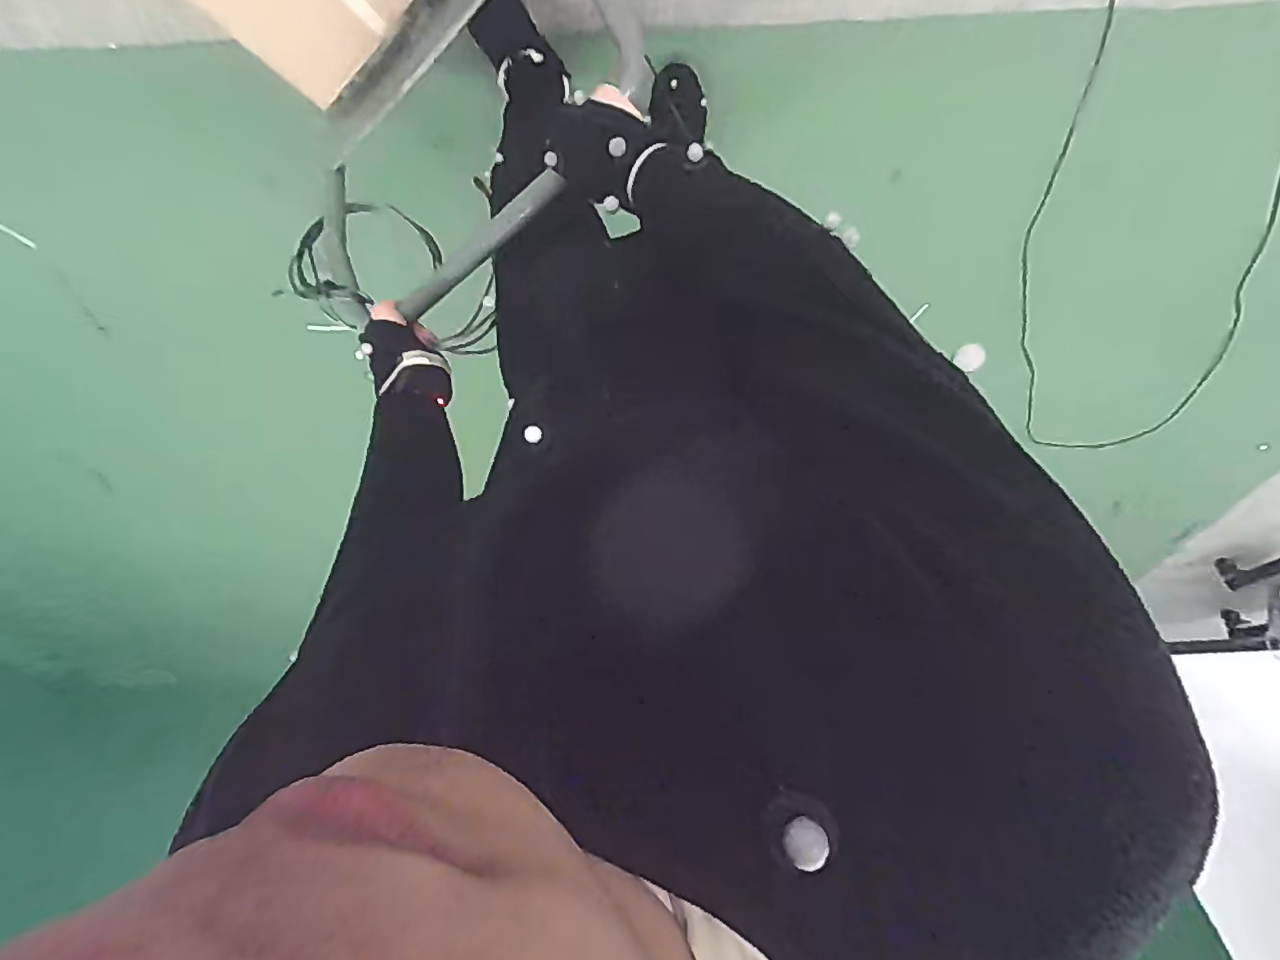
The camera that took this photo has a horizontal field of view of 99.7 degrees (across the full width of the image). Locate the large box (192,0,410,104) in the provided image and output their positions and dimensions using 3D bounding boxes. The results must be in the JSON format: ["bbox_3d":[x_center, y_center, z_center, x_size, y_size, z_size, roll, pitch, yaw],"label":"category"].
[{"bbox_3d":[-0.485,-0.802,0.659,0.320,0.320,0.408,-27,149,25],"label":"large box"}]
